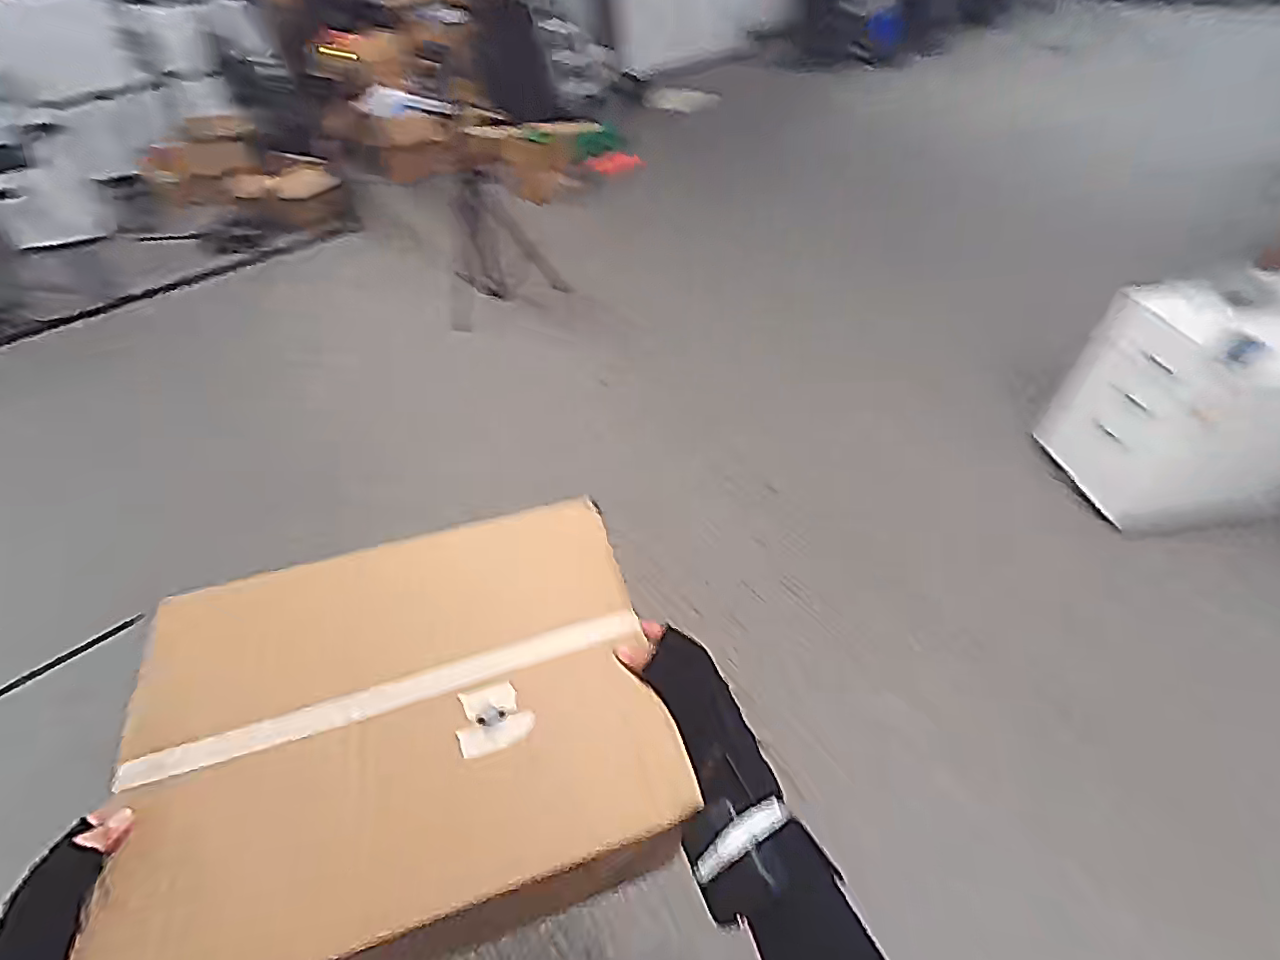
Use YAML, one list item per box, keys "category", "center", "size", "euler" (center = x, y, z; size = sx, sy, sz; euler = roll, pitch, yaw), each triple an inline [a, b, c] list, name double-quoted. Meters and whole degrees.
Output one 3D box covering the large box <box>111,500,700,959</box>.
- category: "large box"
  center: [-0.191, 0.272, 0.574]
  size: [0.408, 0.320, 0.320]
  euler: [-12, 52, -13]
